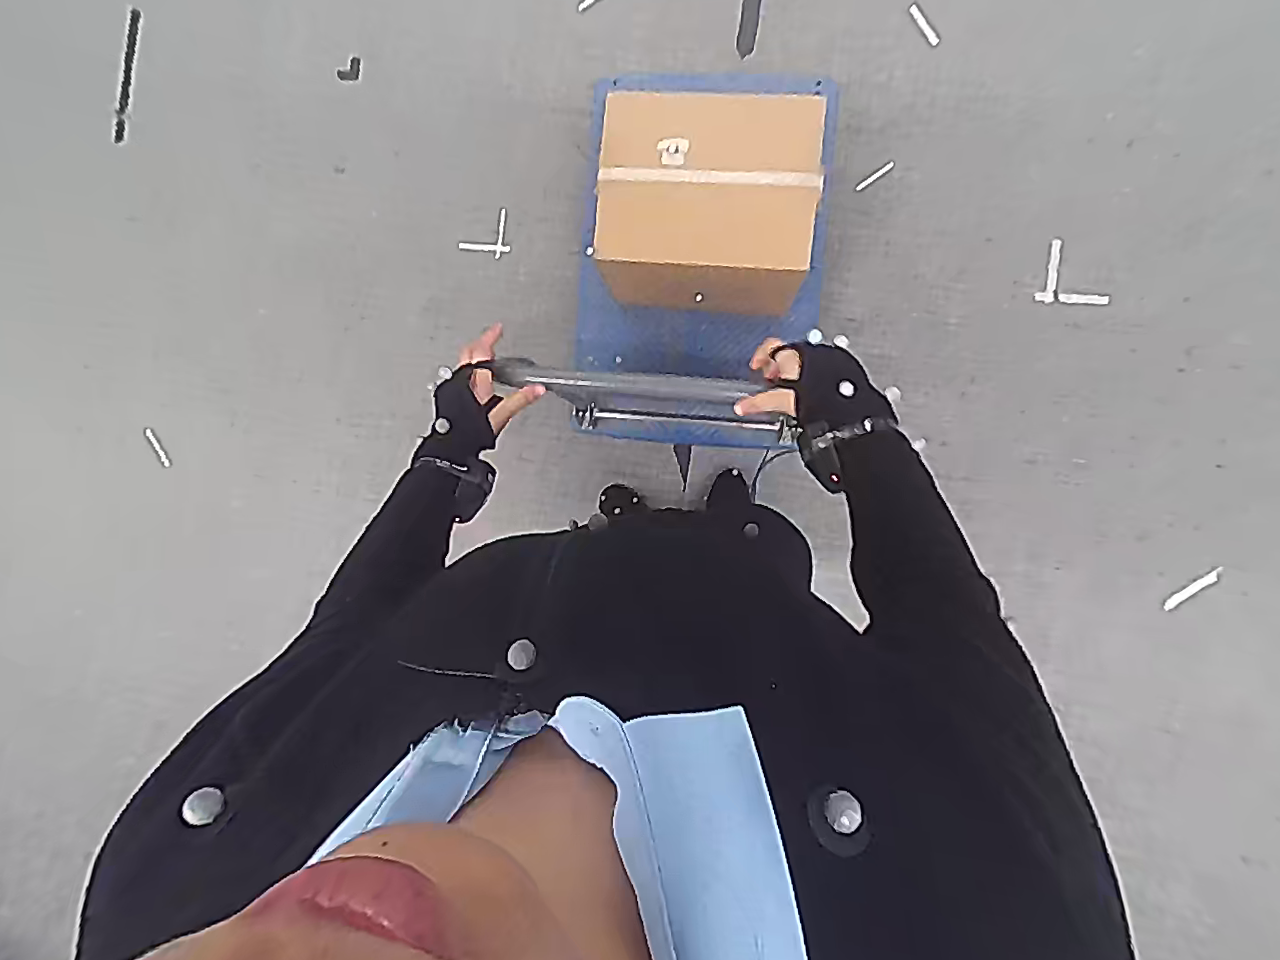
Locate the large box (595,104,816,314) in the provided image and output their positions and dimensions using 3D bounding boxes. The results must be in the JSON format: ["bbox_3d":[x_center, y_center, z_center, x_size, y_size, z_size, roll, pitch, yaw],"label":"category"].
[{"bbox_3d":[0.139,-0.557,1.169,0.408,0.320,0.320,5,91,7],"label":"large box"}]
